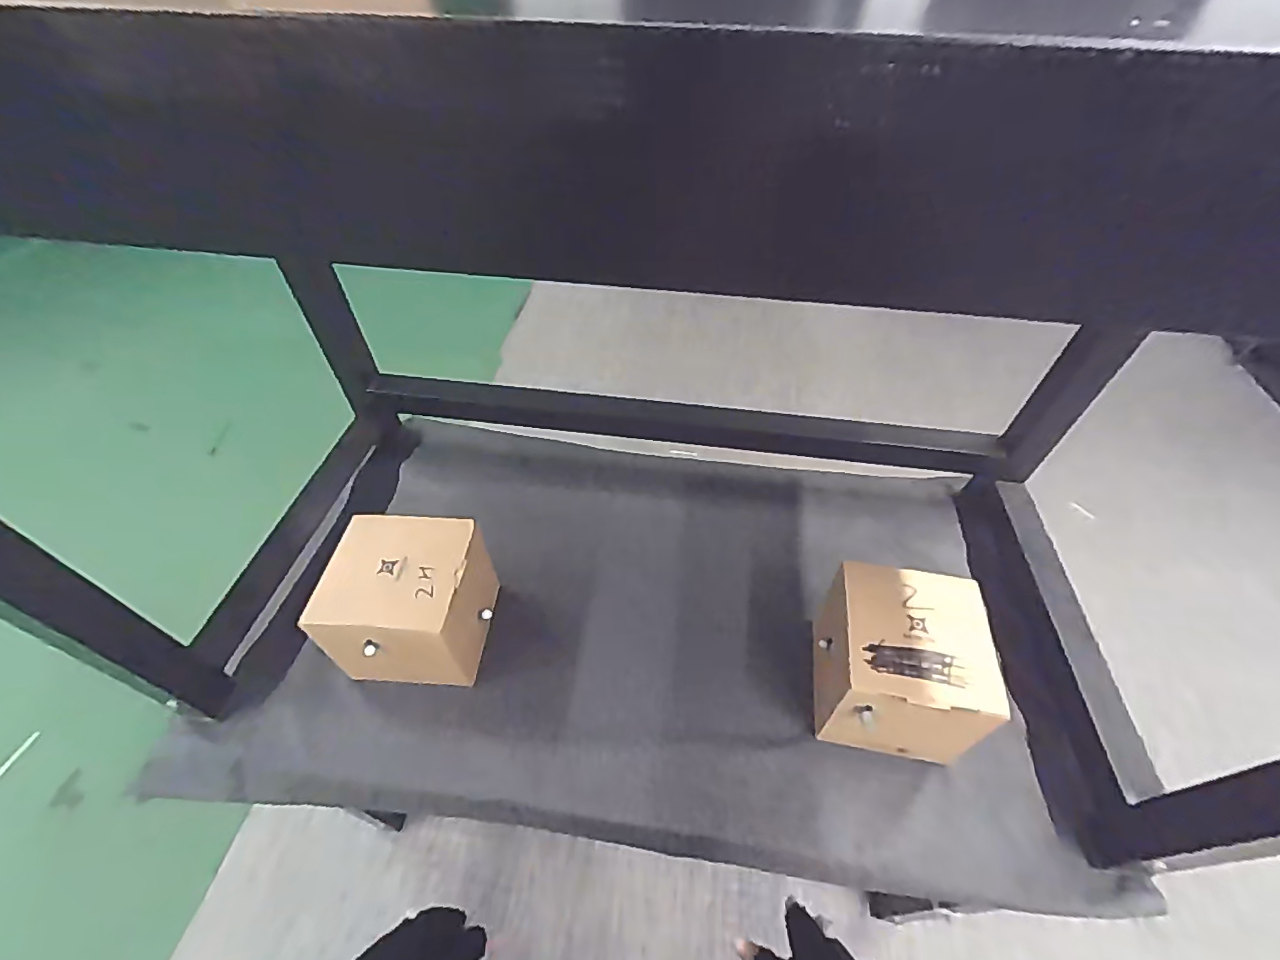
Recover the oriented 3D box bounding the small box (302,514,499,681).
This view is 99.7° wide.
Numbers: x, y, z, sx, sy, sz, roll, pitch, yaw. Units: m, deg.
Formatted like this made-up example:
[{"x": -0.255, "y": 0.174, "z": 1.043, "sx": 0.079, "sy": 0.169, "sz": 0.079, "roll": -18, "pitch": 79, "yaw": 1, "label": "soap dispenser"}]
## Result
[{"x": -0.314, "y": 0.166, "z": 0.753, "sx": 0.179, "sy": 0.176, "sz": 0.168, "roll": 3, "pitch": 49, "yaw": 2, "label": "small box"}]
